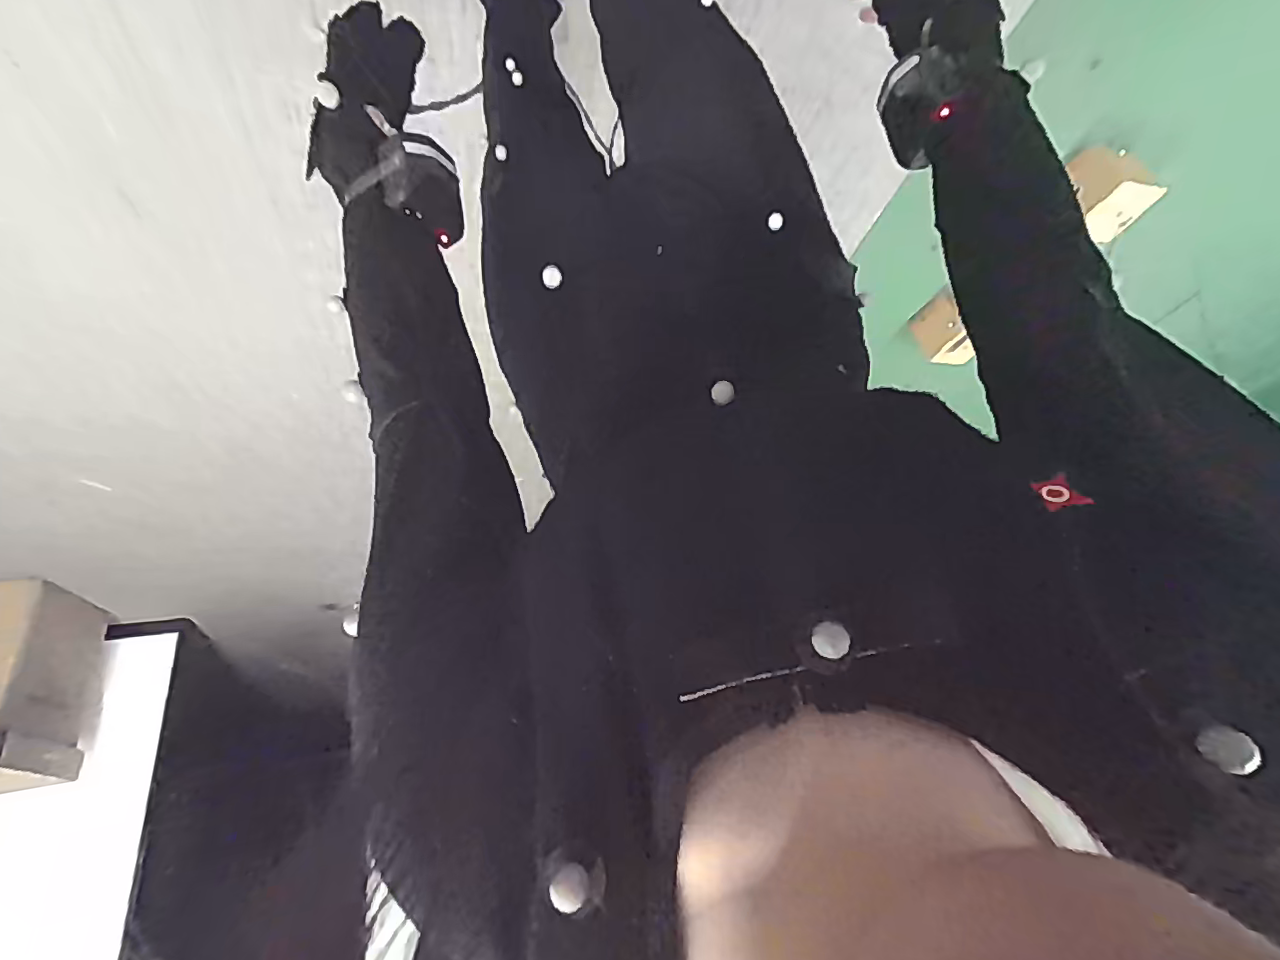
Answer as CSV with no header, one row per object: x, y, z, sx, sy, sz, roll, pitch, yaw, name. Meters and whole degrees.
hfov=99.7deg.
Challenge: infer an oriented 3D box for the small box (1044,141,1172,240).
1.267,-0.792,1.479,0.179,0.176,0.168,-2,151,-18,small box
